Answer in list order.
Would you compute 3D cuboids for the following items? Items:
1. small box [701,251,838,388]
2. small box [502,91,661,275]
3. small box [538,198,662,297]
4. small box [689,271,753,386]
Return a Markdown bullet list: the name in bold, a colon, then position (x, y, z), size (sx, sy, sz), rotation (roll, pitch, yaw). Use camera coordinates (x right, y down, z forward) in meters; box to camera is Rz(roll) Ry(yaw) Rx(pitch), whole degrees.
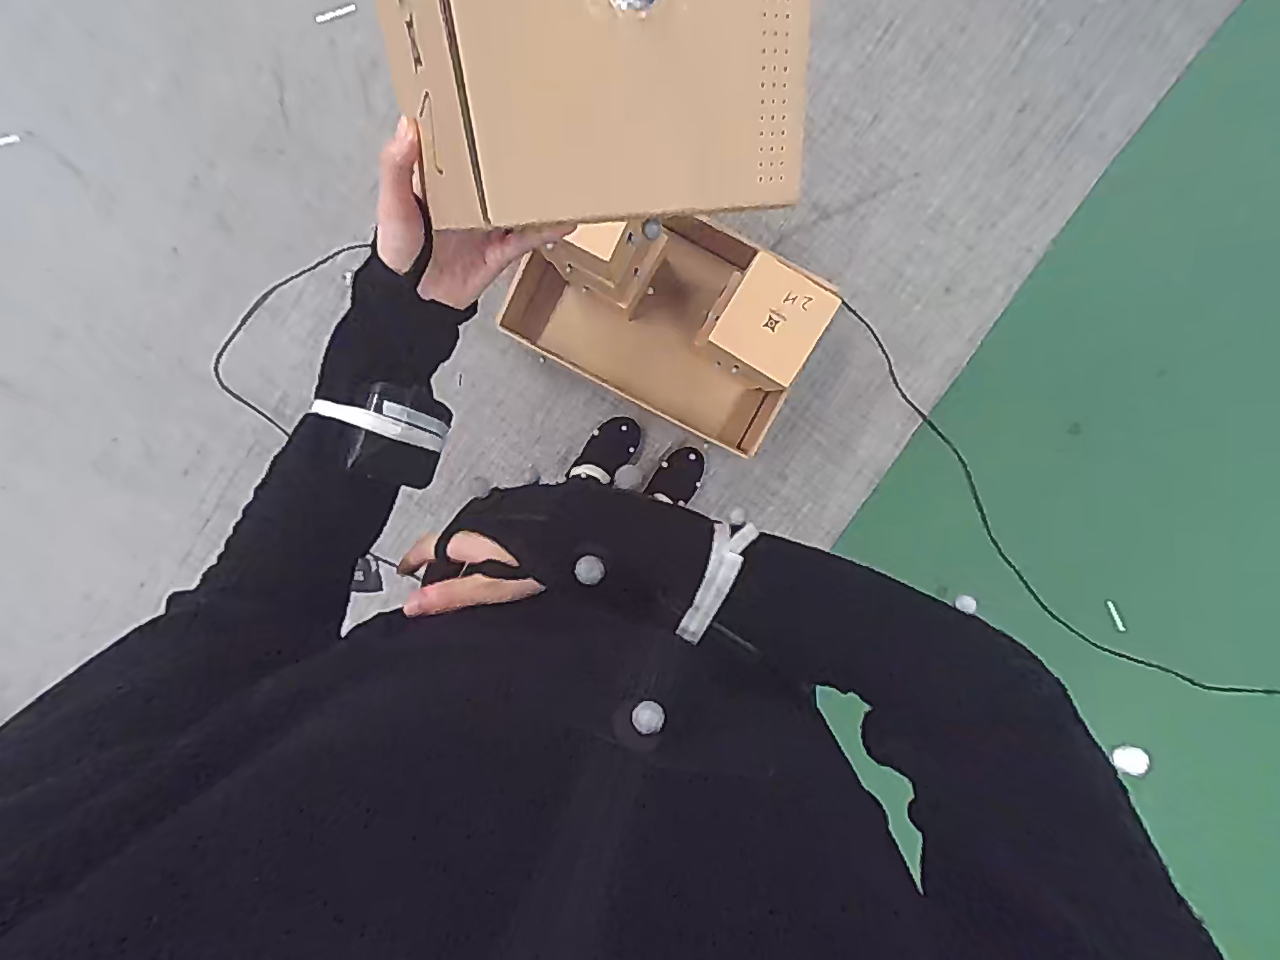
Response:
- **small box**: position (0.227, -0.283, 1.004), size (0.168, 0.176, 0.179), rotation (32, 96, -4)
- **small box**: position (-0.079, -0.434, 0.829), size (0.179, 0.176, 0.168), rotation (27, 99, -1)
- **small box**: position (-0.076, -0.457, 0.990), size (0.179, 0.176, 0.168), rotation (32, 98, -4)
- **small box**: position (0.218, -0.313, 1.166), size (0.179, 0.176, 0.168), rotation (32, 97, -2)
